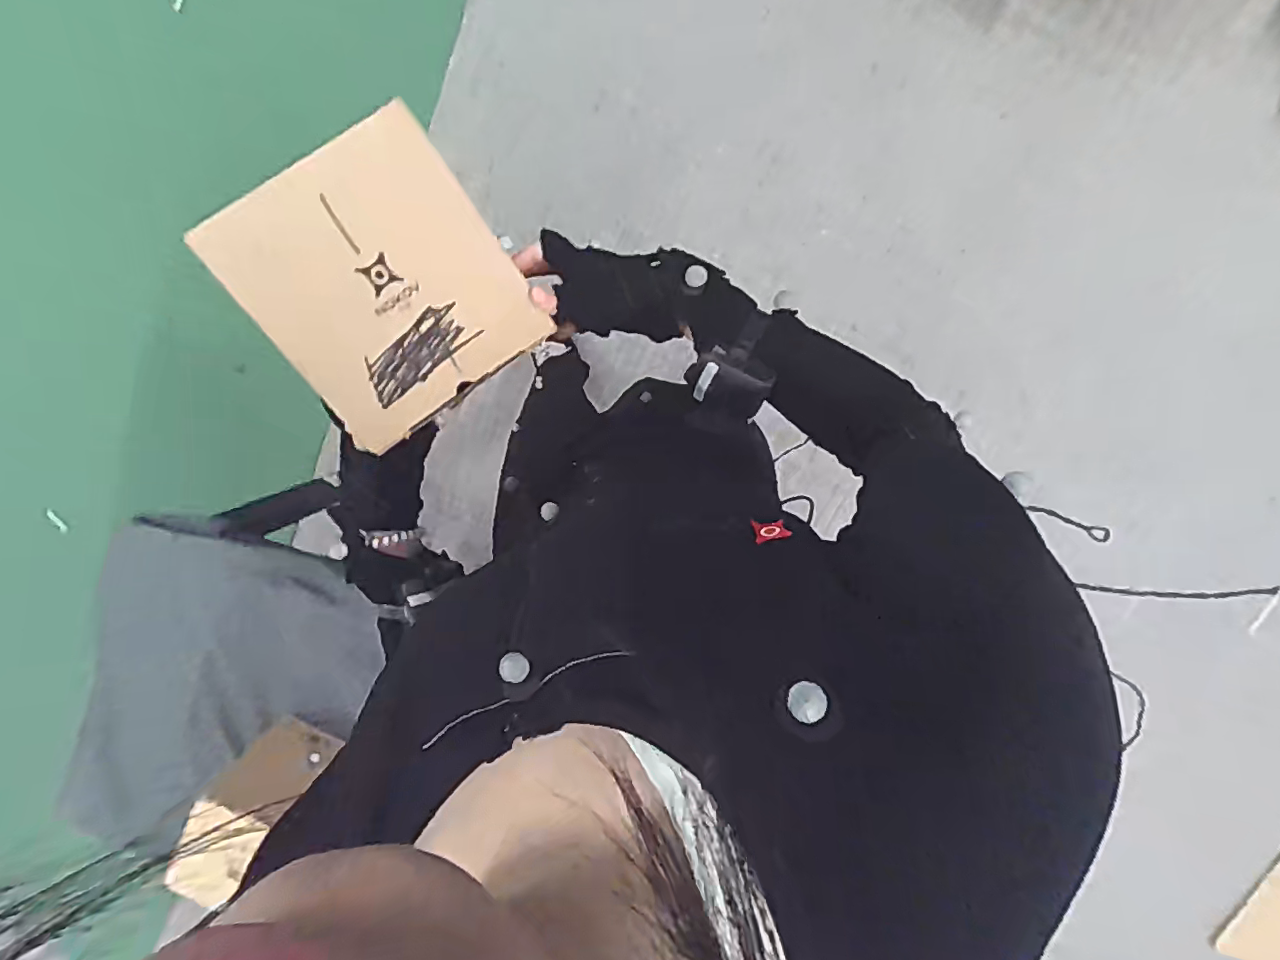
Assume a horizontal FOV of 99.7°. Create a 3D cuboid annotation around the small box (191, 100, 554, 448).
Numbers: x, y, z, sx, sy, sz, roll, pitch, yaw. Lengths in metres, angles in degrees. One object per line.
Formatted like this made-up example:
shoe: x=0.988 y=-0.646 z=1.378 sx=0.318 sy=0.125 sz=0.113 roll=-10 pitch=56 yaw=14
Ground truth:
small box: x=-0.191 y=-0.153 z=0.446 sx=0.168 sy=0.176 sz=0.179 roll=-36 pitch=108 yaw=-5
